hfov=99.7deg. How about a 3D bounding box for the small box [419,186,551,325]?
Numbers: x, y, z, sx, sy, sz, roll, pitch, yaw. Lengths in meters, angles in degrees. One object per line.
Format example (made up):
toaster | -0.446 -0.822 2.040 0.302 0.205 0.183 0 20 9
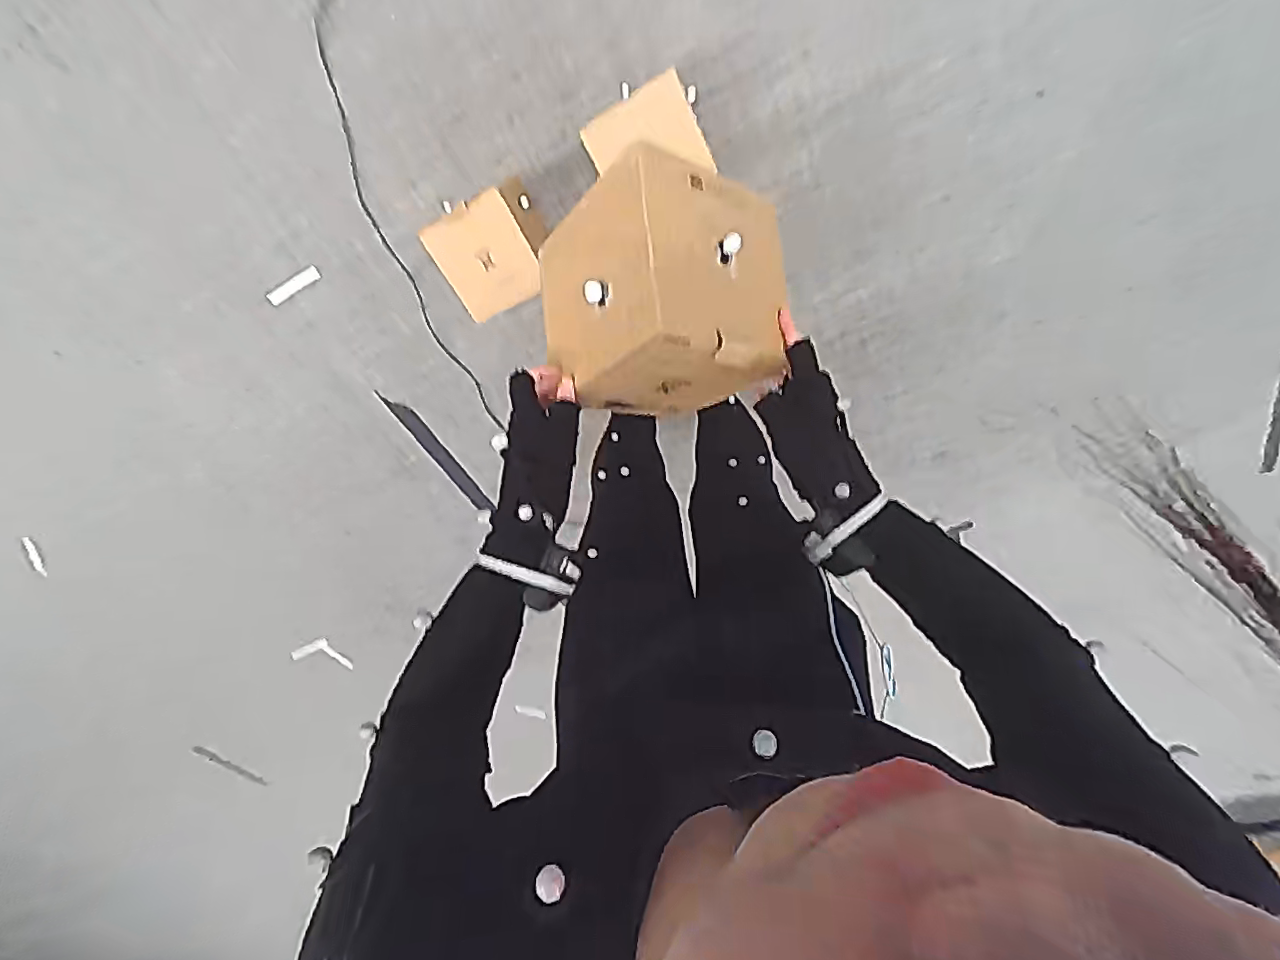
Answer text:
small box | -0.269 -0.423 1.006 0.168 0.176 0.179 -21 124 16

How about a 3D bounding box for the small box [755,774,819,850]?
small box | 0.518 1.181 1.927 0.179 0.176 0.168 -19 124 13

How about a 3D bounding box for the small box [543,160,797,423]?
small box | 0.018 -0.161 0.518 0.168 0.176 0.179 -1 170 -37

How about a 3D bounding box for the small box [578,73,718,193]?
small box | 0.014 -0.544 0.915 0.168 0.176 0.179 -24 122 17
